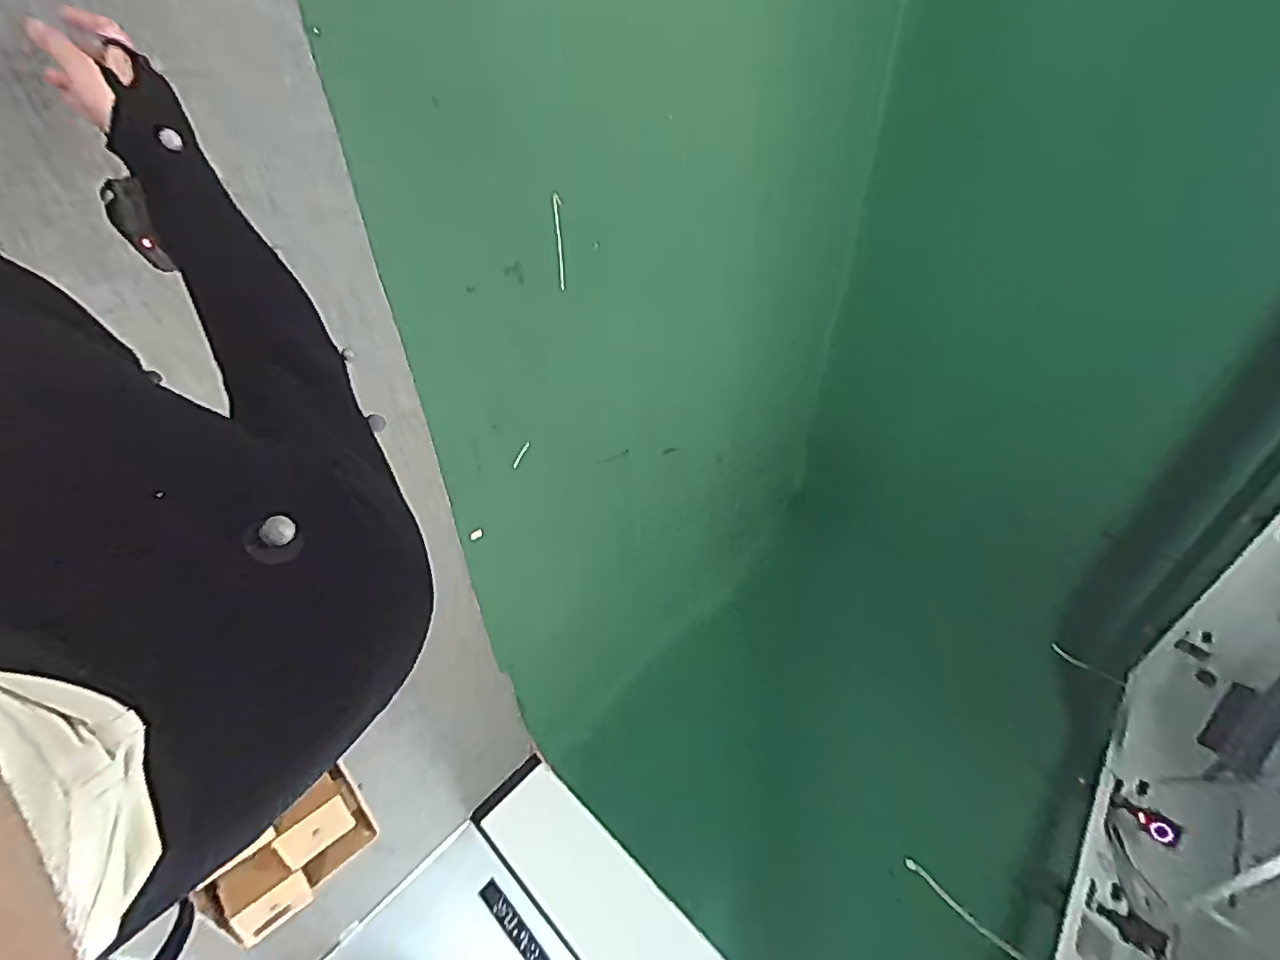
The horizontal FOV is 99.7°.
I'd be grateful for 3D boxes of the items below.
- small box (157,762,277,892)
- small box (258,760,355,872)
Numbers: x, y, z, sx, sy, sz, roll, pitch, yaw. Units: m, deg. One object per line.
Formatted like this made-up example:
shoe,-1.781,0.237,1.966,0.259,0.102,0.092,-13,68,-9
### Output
small box,-1.012,0.816,1.294,0.168,0.176,0.179,-27,133,-40
small box,-0.920,0.913,1.486,0.168,0.176,0.179,-28,135,-37
